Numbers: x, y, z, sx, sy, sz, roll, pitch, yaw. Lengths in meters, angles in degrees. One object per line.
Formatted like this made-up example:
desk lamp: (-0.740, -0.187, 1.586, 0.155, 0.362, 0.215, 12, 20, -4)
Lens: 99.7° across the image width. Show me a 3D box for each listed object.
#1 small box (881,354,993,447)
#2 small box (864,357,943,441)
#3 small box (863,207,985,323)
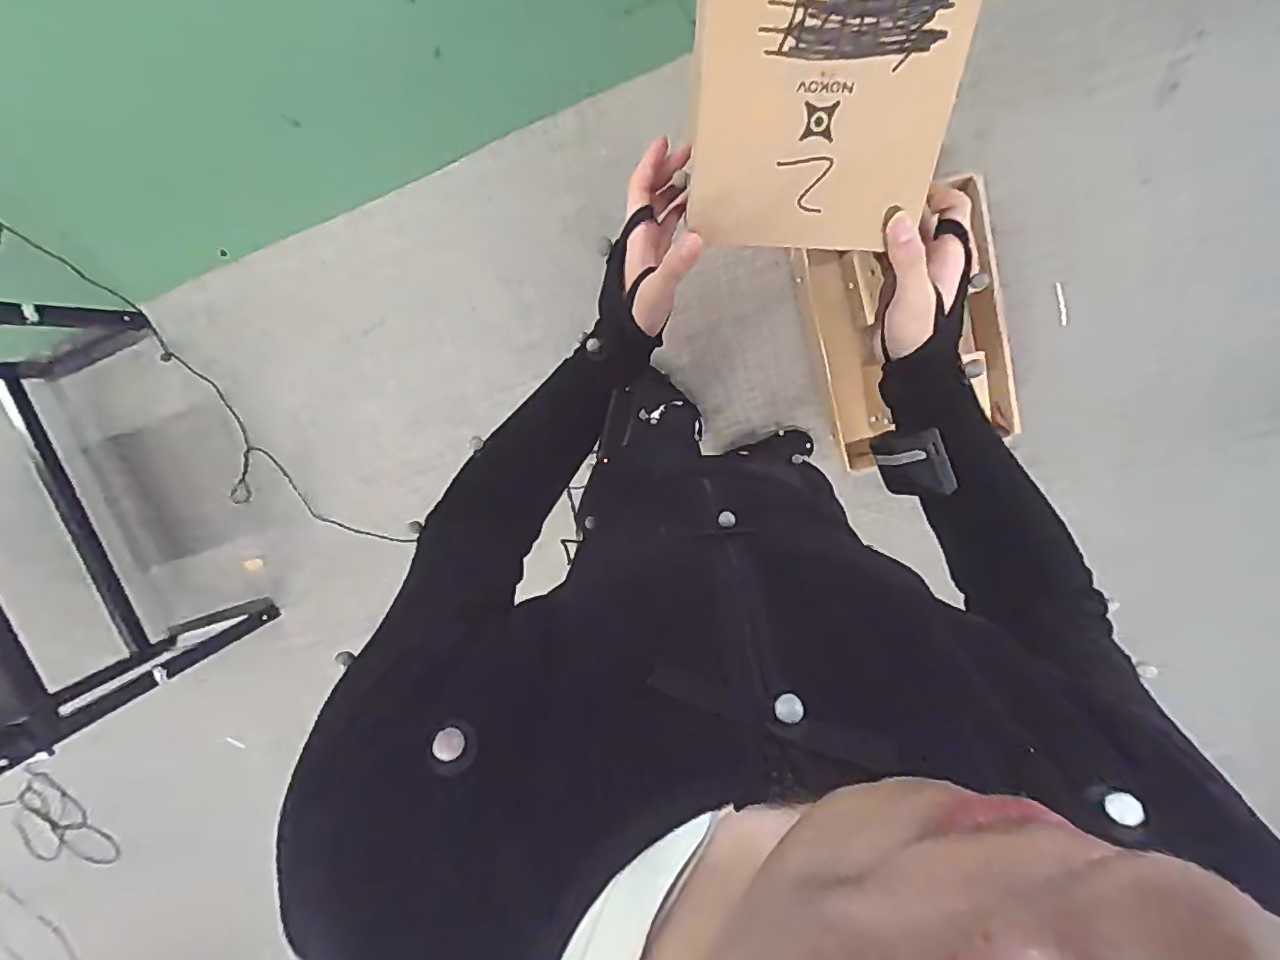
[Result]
small box: (0.641, -0.176, 1.189, 0.179, 0.176, 0.168, -9, 101, 13)
small box: (0.669, -0.206, 1.346, 0.168, 0.176, 0.179, -10, 100, 13)
small box: (0.586, -0.441, 1.142, 0.179, 0.176, 0.168, -17, 99, 14)
